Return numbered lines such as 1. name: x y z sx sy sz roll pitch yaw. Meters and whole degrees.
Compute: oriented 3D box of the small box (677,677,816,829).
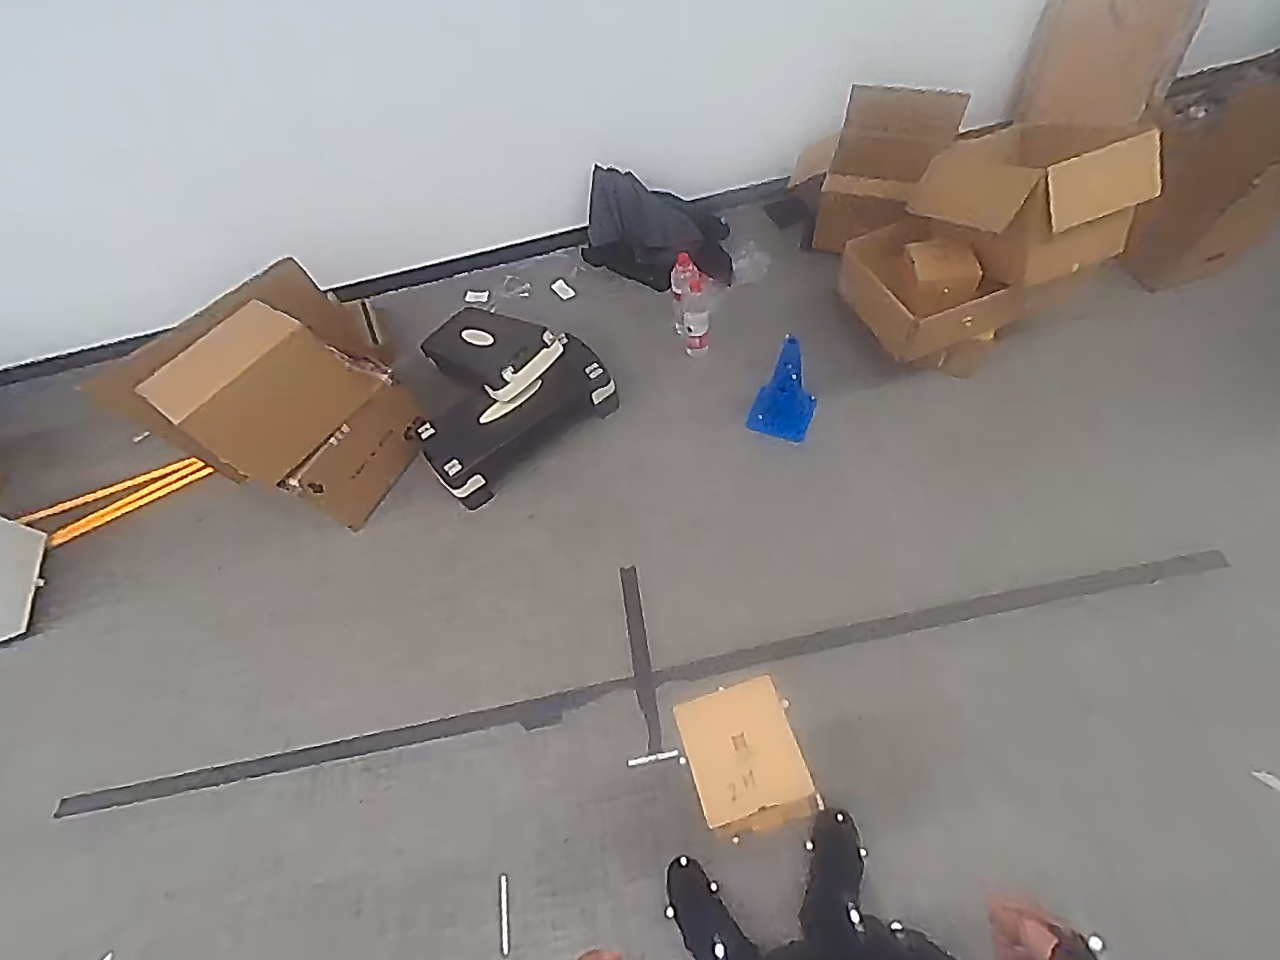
1. small box: 0.167 0.448 0.889 0.168 0.176 0.179 -18 60 0
